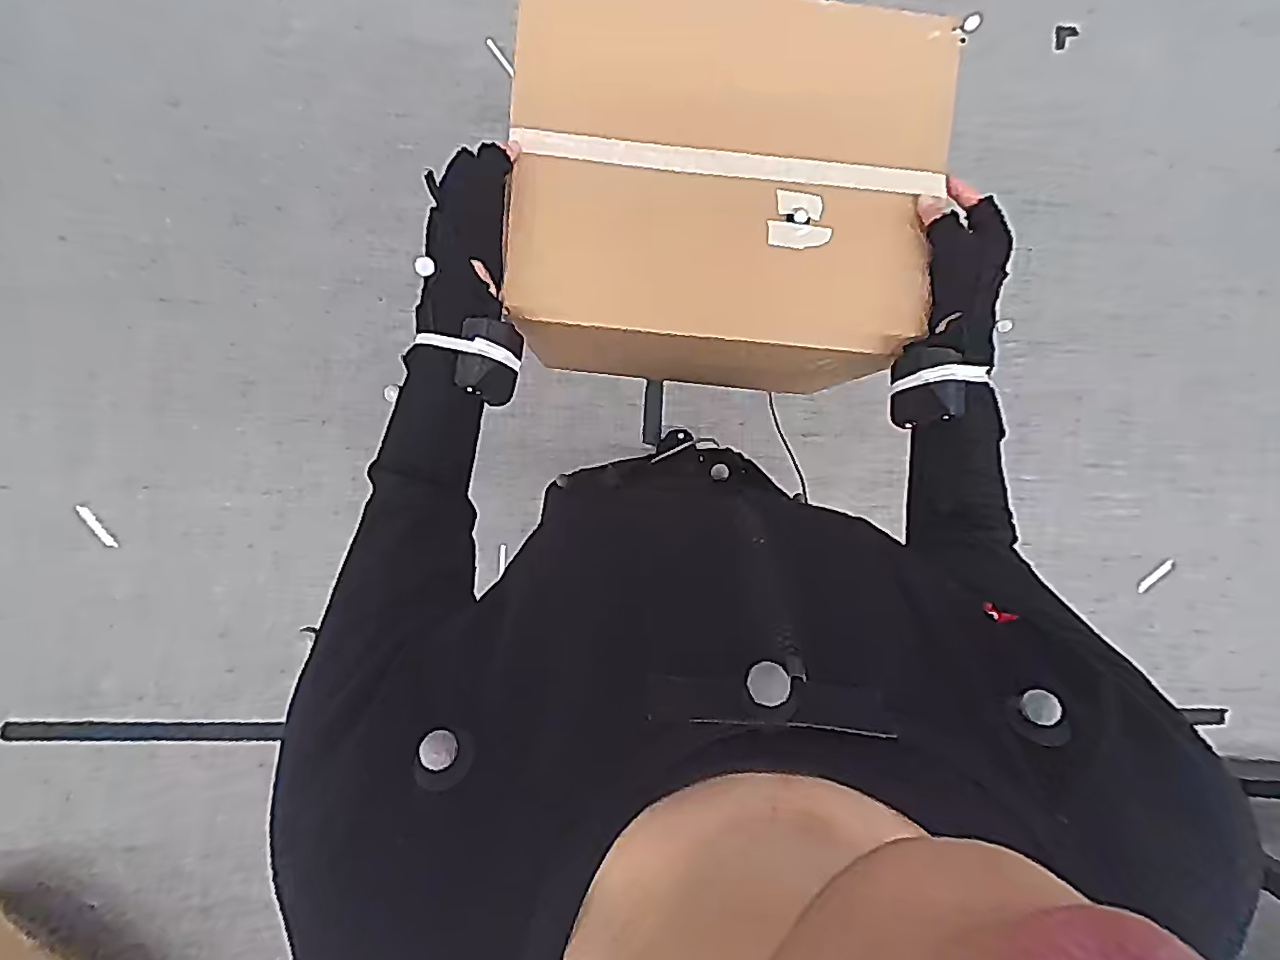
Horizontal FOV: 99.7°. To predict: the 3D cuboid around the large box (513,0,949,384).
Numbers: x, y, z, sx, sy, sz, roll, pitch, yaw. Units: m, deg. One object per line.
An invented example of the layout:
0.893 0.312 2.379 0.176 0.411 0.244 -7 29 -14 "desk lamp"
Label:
0.079 -0.304 0.661 0.408 0.320 0.320 5 94 -3 "large box"
